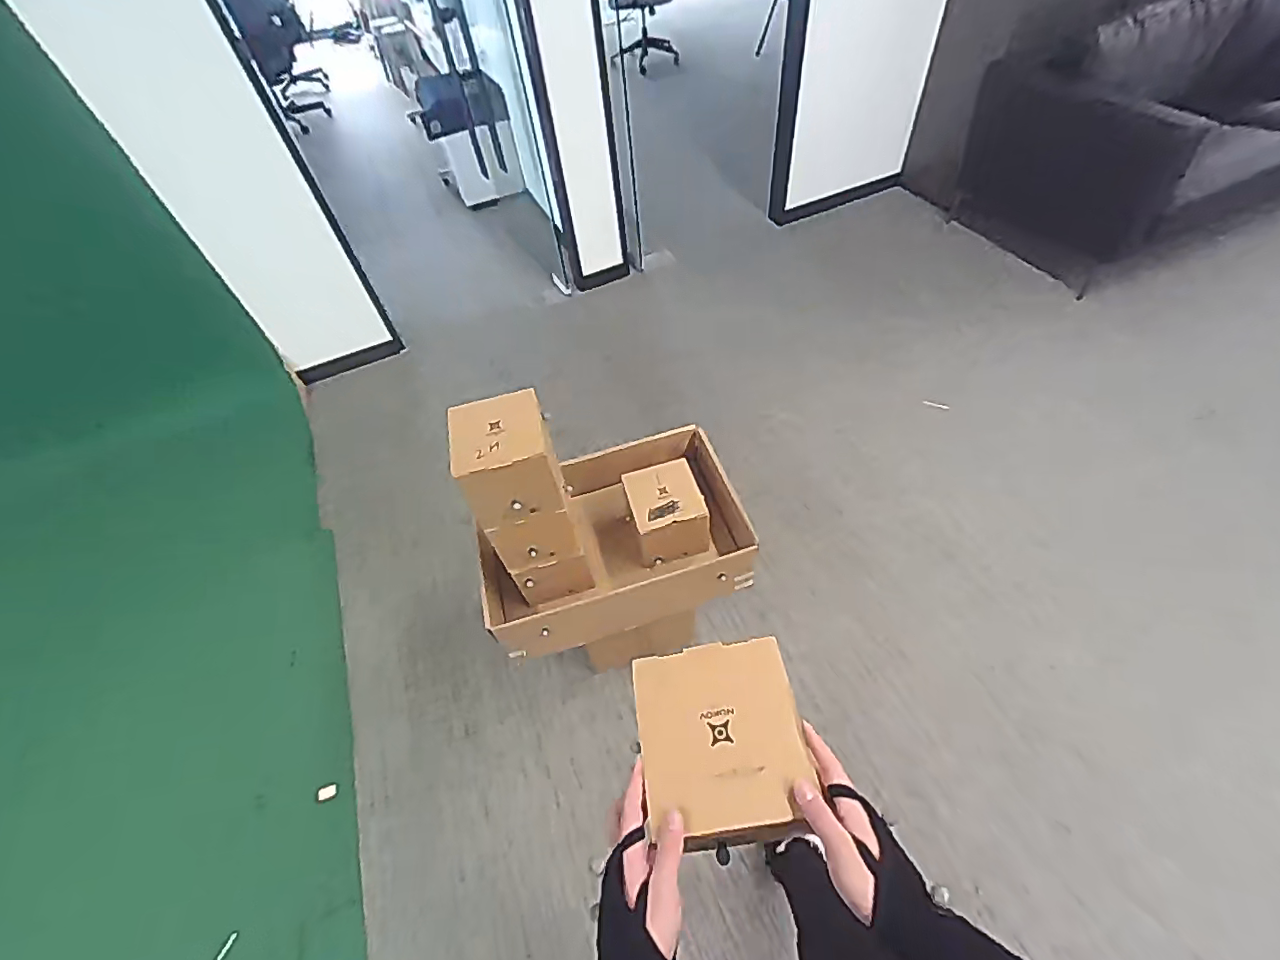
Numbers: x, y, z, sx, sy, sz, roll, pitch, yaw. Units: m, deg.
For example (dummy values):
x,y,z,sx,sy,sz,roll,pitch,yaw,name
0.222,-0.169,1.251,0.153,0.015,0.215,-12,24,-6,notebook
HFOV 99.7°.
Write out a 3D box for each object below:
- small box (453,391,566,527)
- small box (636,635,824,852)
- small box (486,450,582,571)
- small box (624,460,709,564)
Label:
x,y,z,sx,sy,sz,roll,pitch,yaw,name
-0.246,-0.038,1.031,0.168,0.176,0.179,-14,52,-4,small box
0.091,0.300,0.613,0.168,0.176,0.179,-9,51,2,small box
-0.229,0.066,1.158,0.168,0.176,0.179,-15,52,-5,small box
0.067,0.086,1.313,0.168,0.176,0.179,-15,52,-5,small box
